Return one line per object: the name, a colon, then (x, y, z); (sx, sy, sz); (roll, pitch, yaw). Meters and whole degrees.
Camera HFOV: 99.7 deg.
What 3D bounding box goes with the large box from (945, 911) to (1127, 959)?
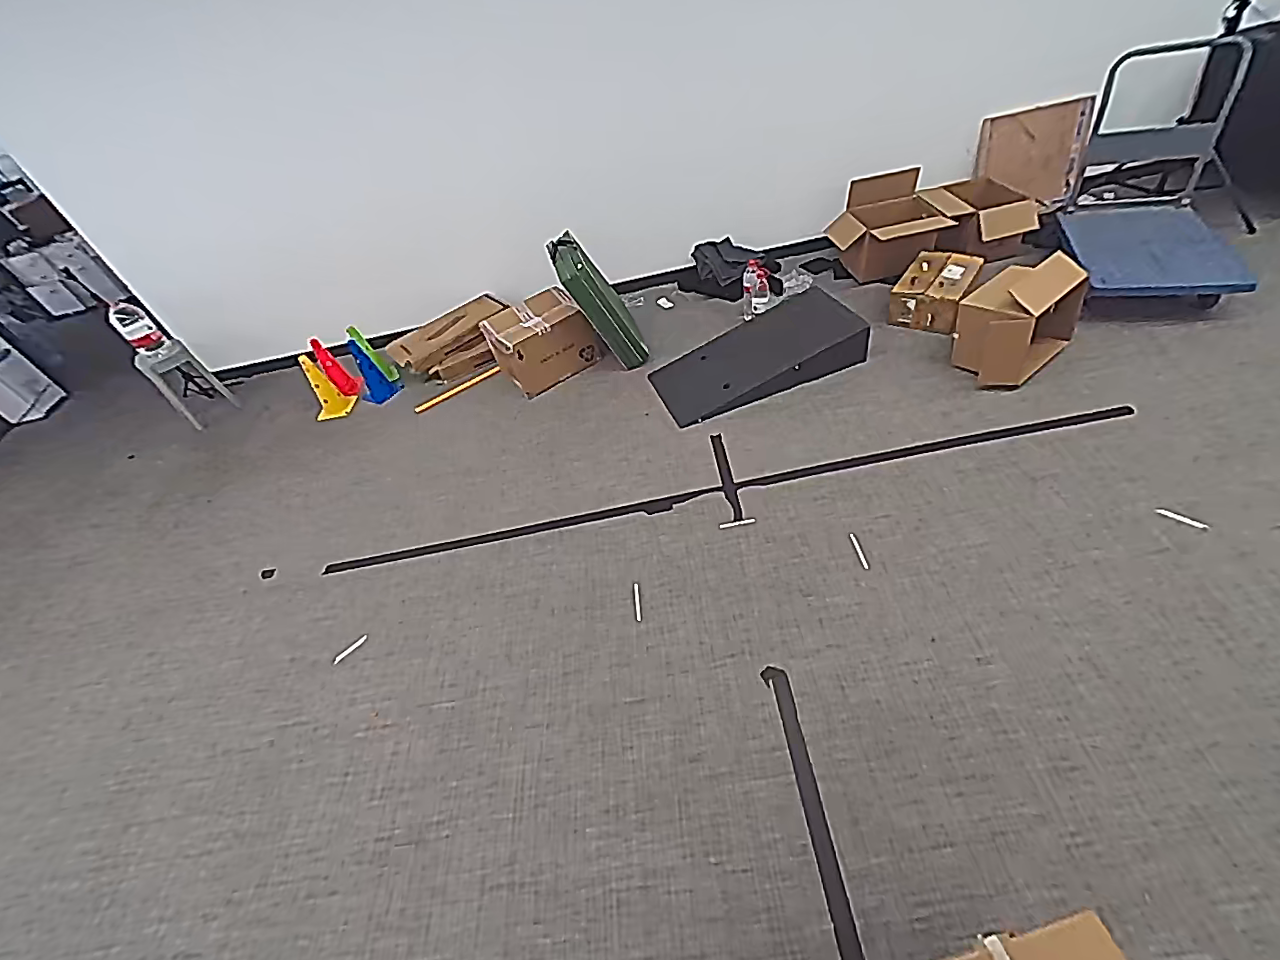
large box: (0.629, 0.929, 0.781); (0.320, 0.320, 0.408); (-22, 45, 3)
